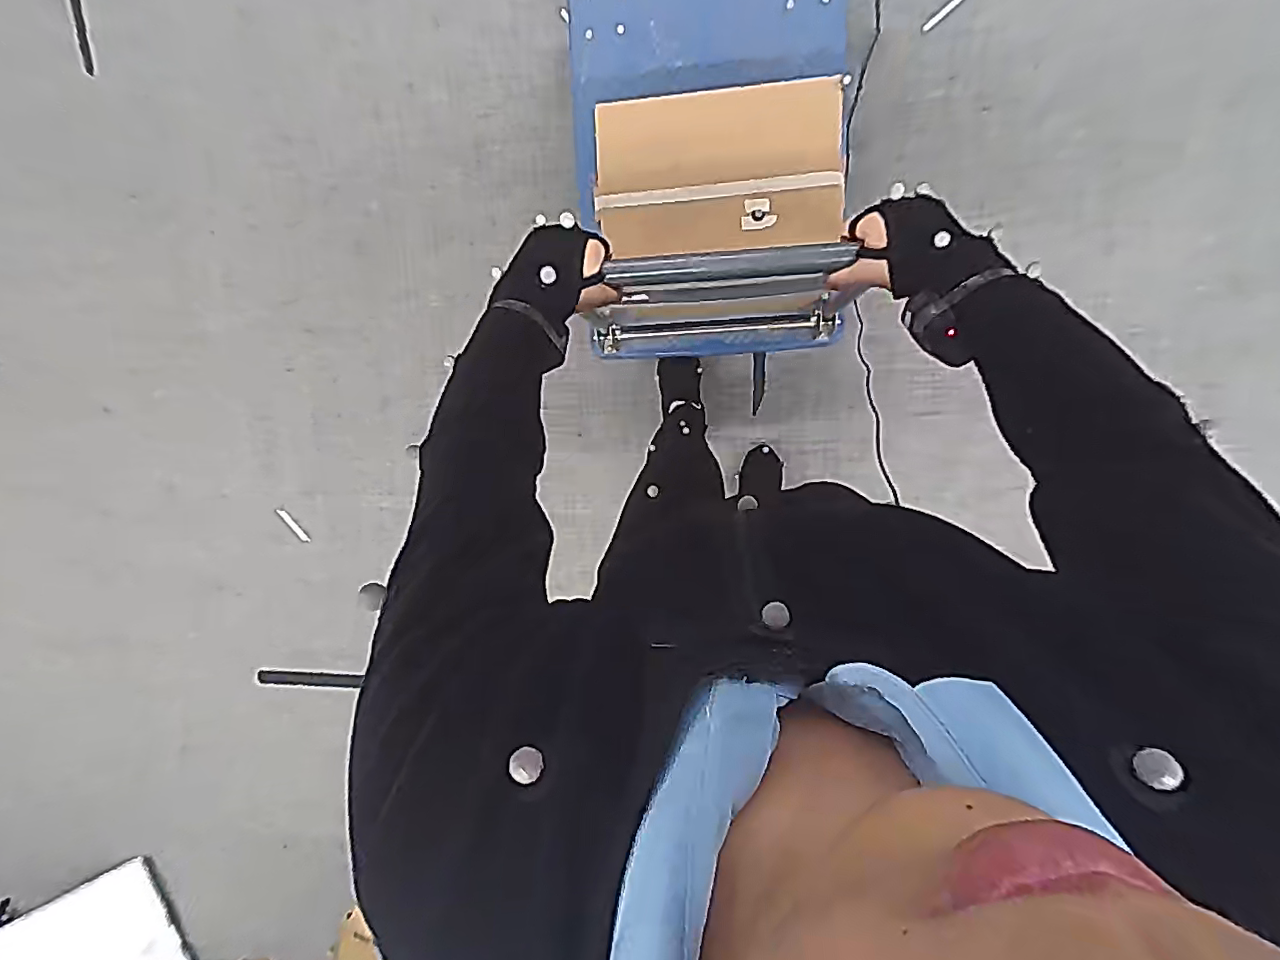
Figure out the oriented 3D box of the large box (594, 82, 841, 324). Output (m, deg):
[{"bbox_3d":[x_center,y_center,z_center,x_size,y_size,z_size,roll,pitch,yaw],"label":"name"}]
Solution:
[{"bbox_3d":[0.144,-0.495,1.050,0.408,0.320,0.320,-2,99,7],"label":"large box"}]
